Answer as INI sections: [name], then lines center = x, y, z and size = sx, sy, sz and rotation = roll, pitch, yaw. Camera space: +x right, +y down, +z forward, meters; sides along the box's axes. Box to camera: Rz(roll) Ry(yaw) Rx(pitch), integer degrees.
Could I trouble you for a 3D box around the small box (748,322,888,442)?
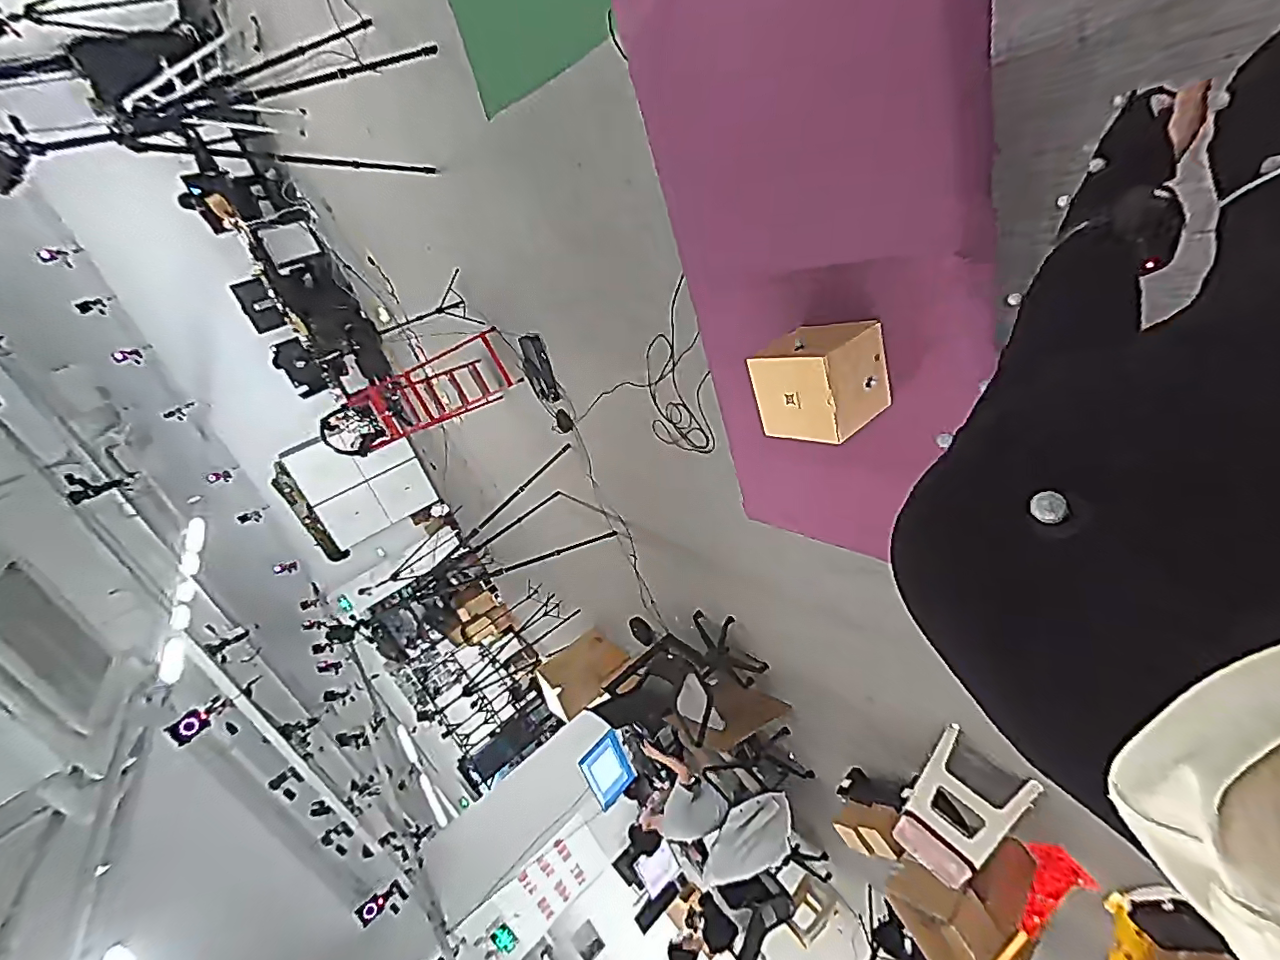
[small box]
center = 0.340, -0.190, 1.028
size = 0.179, 0.176, 0.168
rotation = 14, 130, 52
